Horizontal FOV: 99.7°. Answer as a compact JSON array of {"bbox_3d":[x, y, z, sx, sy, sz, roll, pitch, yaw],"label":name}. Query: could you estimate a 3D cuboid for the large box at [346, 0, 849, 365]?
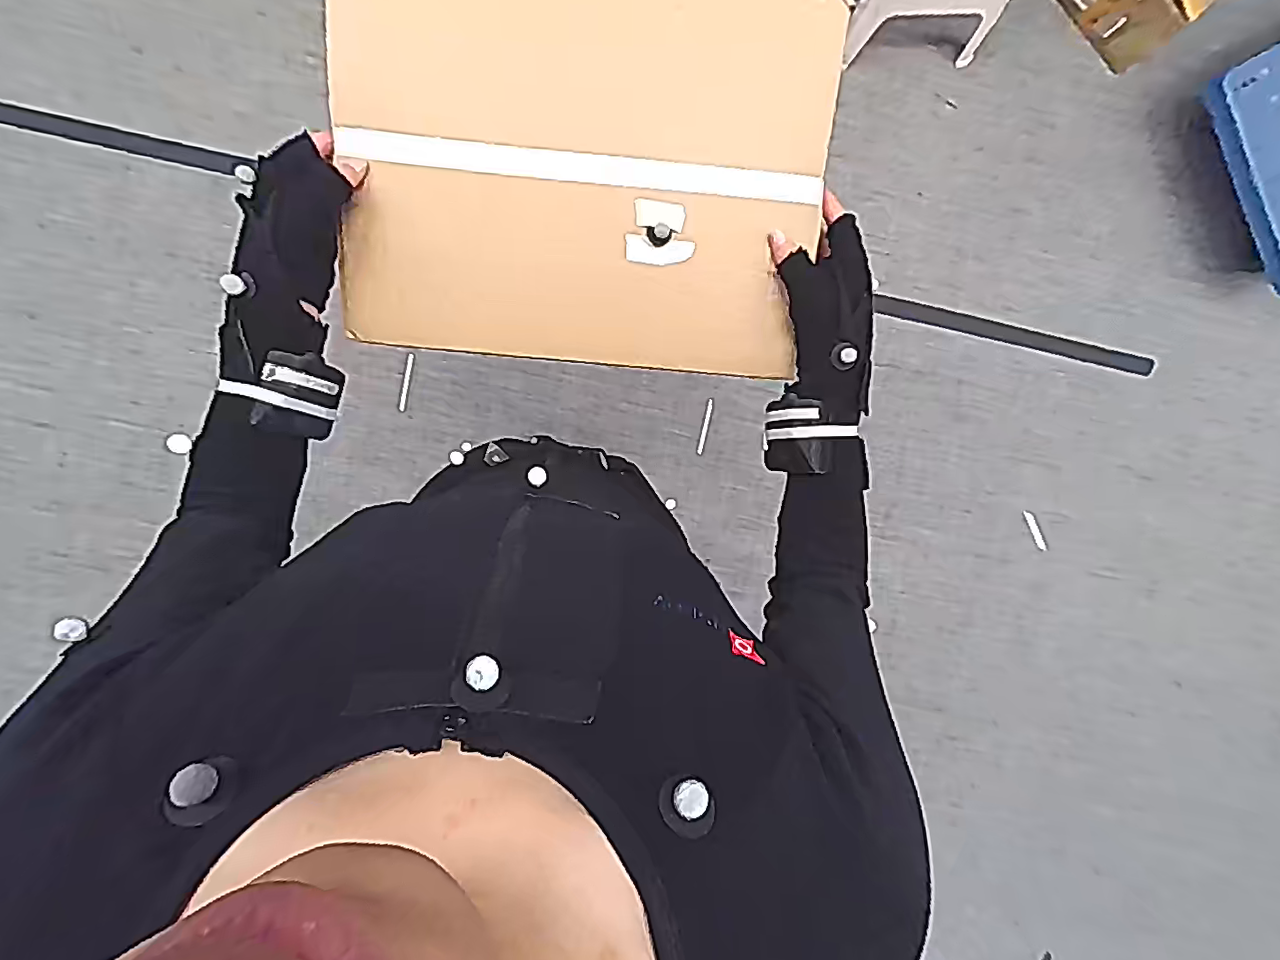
[{"bbox_3d":[-0.048,-0.301,0.599,0.408,0.320,0.320,4,104,-4],"label":"large box"}]
